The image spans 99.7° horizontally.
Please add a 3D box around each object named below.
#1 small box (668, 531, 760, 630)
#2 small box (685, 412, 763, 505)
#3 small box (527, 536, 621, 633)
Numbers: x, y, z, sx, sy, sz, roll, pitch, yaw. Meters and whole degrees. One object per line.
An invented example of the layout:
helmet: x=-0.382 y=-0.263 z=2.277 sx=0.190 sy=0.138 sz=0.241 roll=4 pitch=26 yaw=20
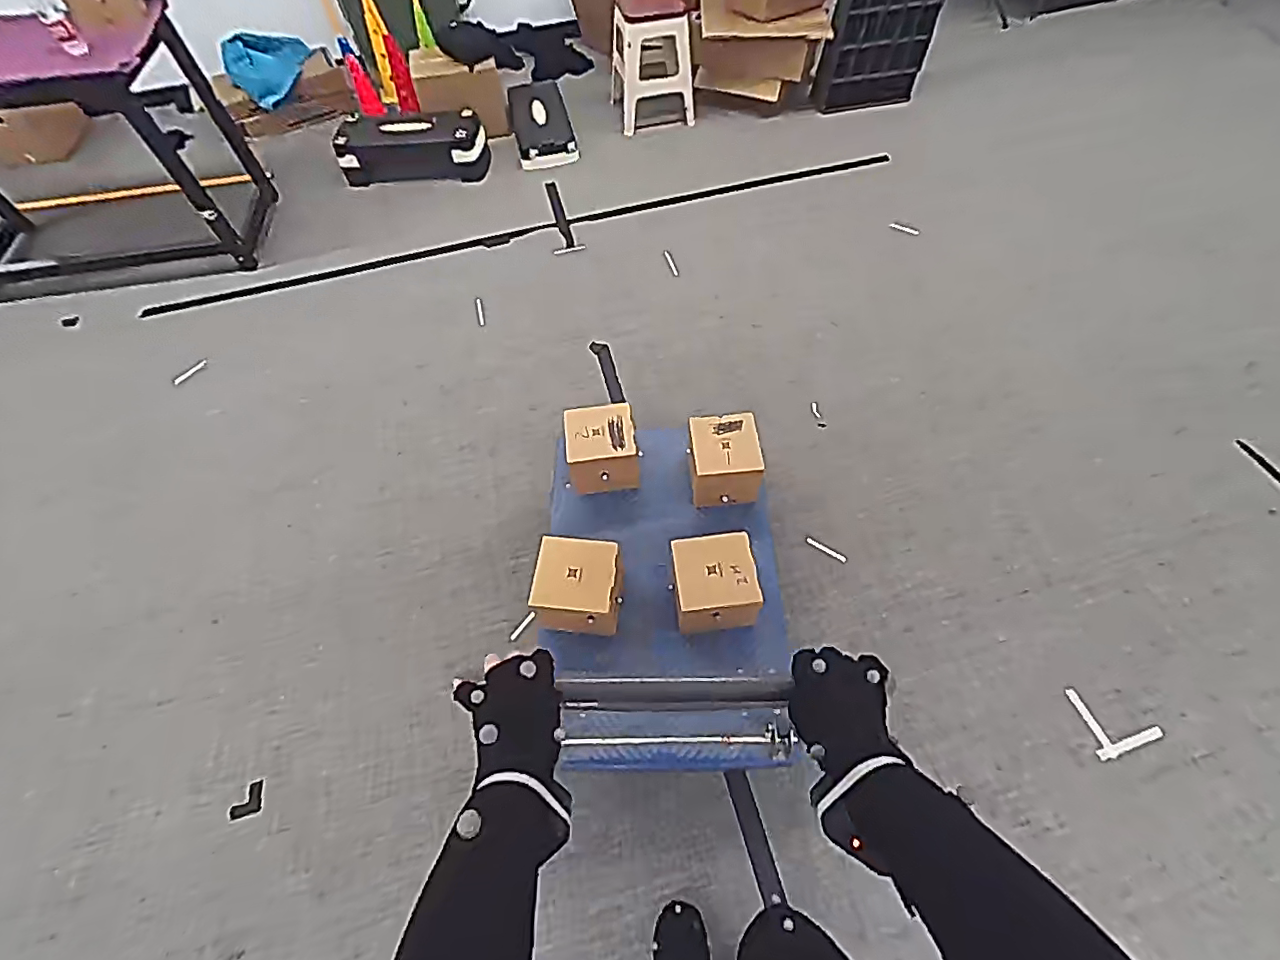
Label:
small box: x=0.162 y=0.233 z=1.230 sx=0.179 sy=0.176 sz=0.168 roll=-7 pitch=59 yaw=-1
small box: x=0.209 y=-0.053 z=1.401 sx=0.168 sy=0.176 sz=0.179 roll=-5 pitch=60 yaw=0
small box: x=-0.143 y=0.244 z=1.238 sx=0.179 sy=0.176 sz=0.168 roll=4 pitch=58 yaw=4
